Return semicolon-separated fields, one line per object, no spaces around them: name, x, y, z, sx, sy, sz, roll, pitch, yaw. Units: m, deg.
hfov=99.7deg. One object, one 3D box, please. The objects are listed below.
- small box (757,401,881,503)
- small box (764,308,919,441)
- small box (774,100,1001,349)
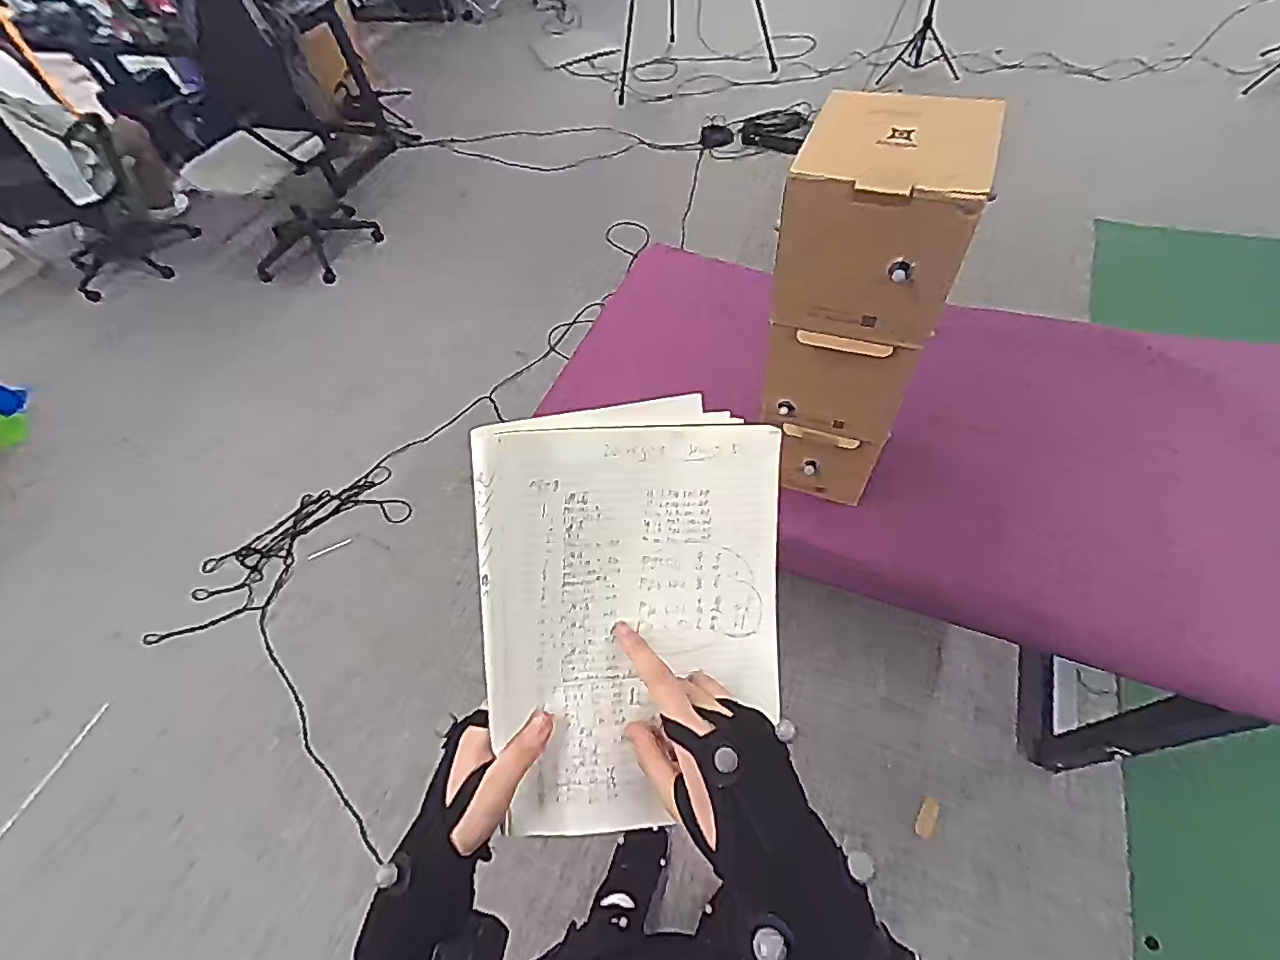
small box;0.286;-0.090;0.844;0.168;0.176;0.179;17;60;17
small box;0.266;-0.177;0.706;0.168;0.176;0.179;17;59;18
small box;0.247;-0.266;0.570;0.168;0.176;0.179;18;59;18
